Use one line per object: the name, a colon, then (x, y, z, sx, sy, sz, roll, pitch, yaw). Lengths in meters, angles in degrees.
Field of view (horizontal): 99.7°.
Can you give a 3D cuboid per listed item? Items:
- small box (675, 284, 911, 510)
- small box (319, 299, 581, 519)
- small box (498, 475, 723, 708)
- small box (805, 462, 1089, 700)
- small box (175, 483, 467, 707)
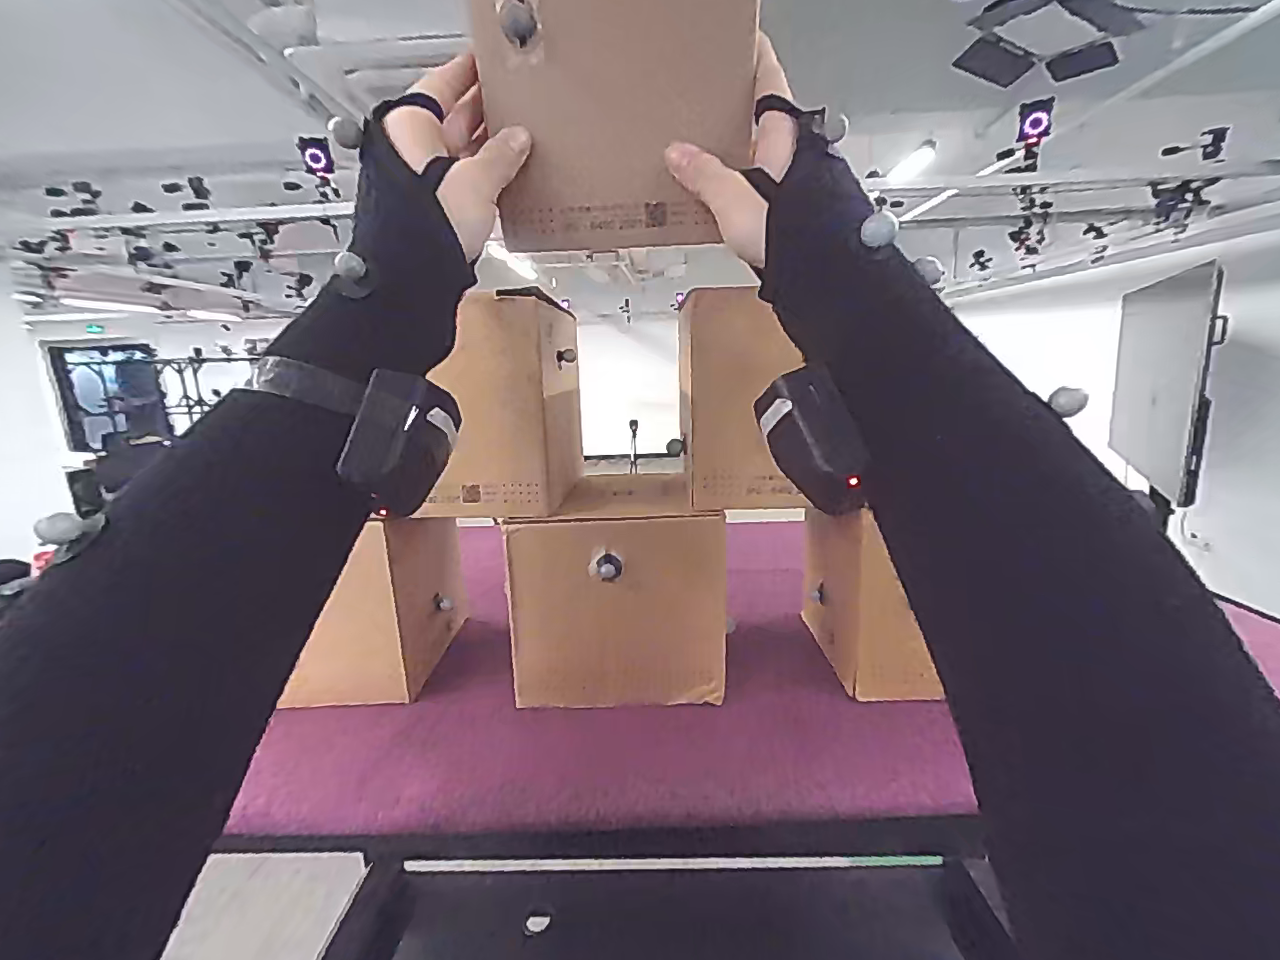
small box: (0.119, -0.072, 0.482, 0.168, 0.176, 0.179, -2, 13, 2)
small box: (-0.149, -0.064, 0.493, 0.168, 0.176, 0.179, -1, 12, 3)
small box: (-0.018, 0.095, 0.510, 0.179, 0.176, 0.168, -2, 12, 2)
small box: (0.260, 0.085, 0.504, 0.179, 0.176, 0.168, -4, 12, 2)
small box: (-0.286, 0.101, 0.527, 0.179, 0.176, 0.168, -3, 13, 0)
